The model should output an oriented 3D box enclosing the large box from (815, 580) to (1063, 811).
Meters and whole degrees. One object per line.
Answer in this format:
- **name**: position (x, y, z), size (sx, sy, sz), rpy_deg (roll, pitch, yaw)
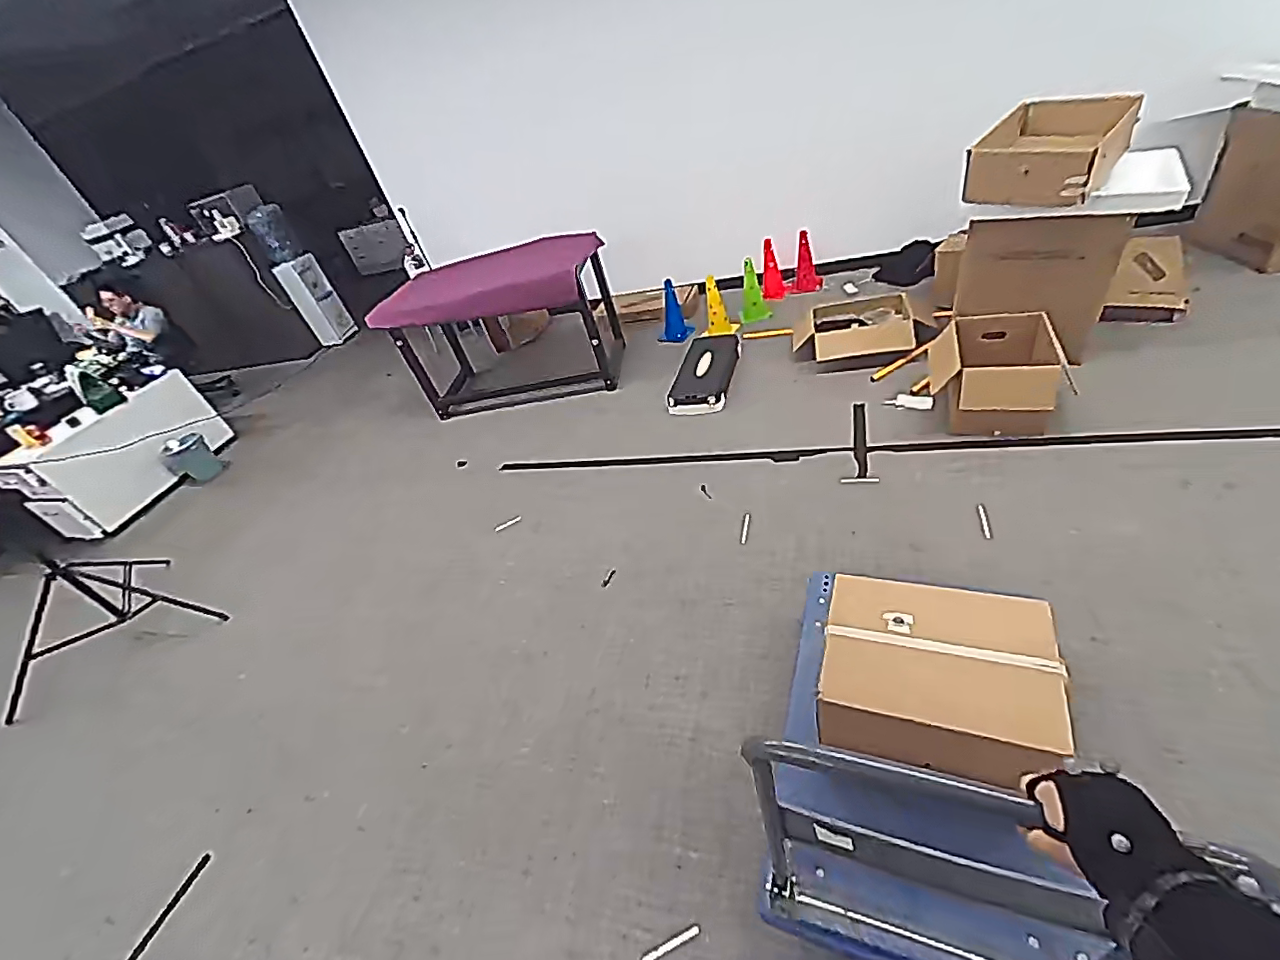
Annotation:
- **large box**: position (0.614, 0.450, 1.167), size (0.408, 0.320, 0.320), rpy_deg (2, 42, 26)
